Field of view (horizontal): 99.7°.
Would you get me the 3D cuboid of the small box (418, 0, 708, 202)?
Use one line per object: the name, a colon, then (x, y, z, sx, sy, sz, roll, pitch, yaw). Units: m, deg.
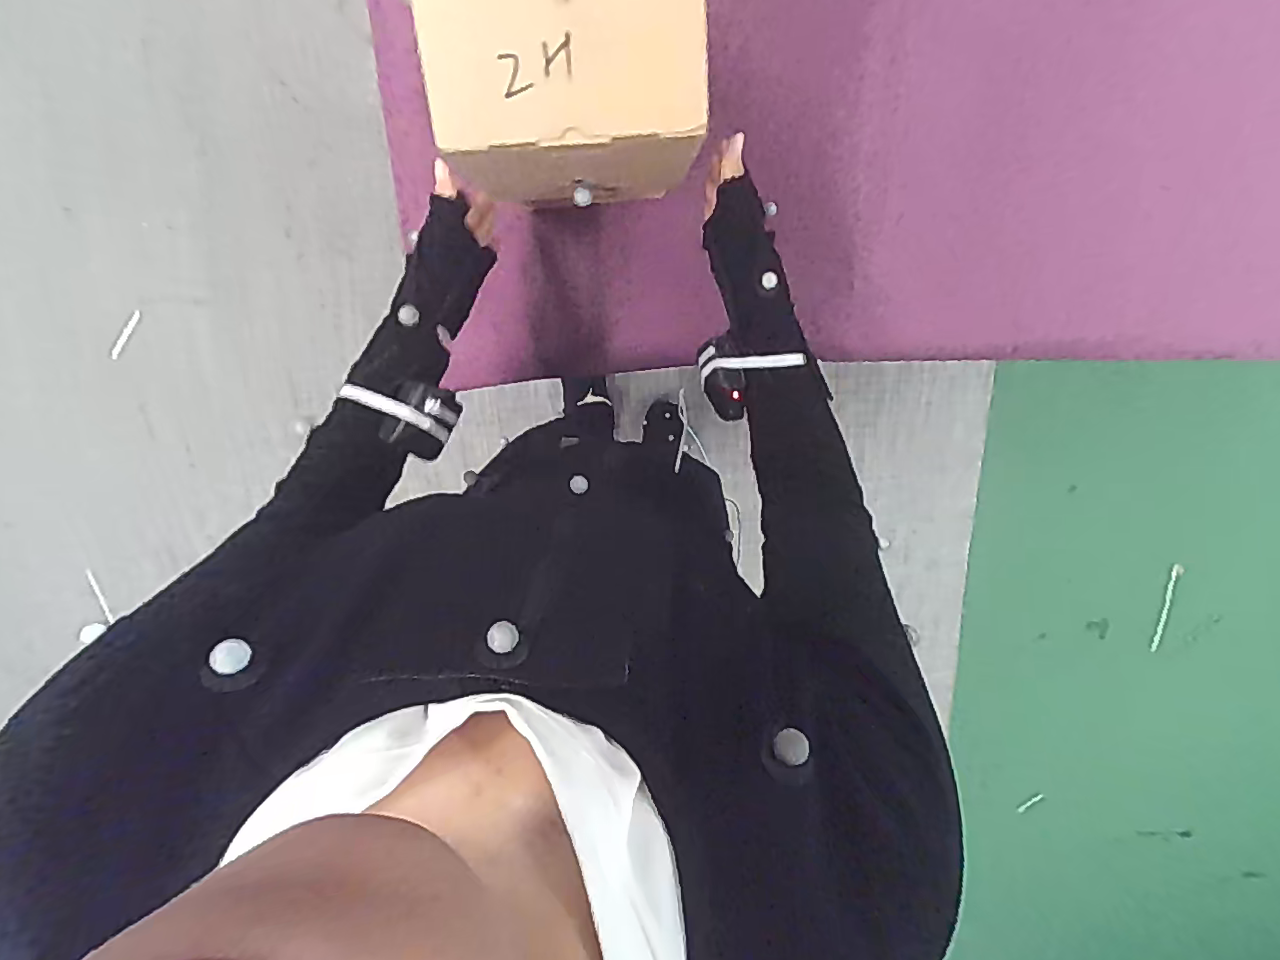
small box: (-0.049, -0.309, 0.377, 0.168, 0.176, 0.179, -5, 109, -1)

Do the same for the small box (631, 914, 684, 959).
small box: (0.067, 1.663, 1.893, 0.168, 0.176, 0.179, -11, 108, -2)
